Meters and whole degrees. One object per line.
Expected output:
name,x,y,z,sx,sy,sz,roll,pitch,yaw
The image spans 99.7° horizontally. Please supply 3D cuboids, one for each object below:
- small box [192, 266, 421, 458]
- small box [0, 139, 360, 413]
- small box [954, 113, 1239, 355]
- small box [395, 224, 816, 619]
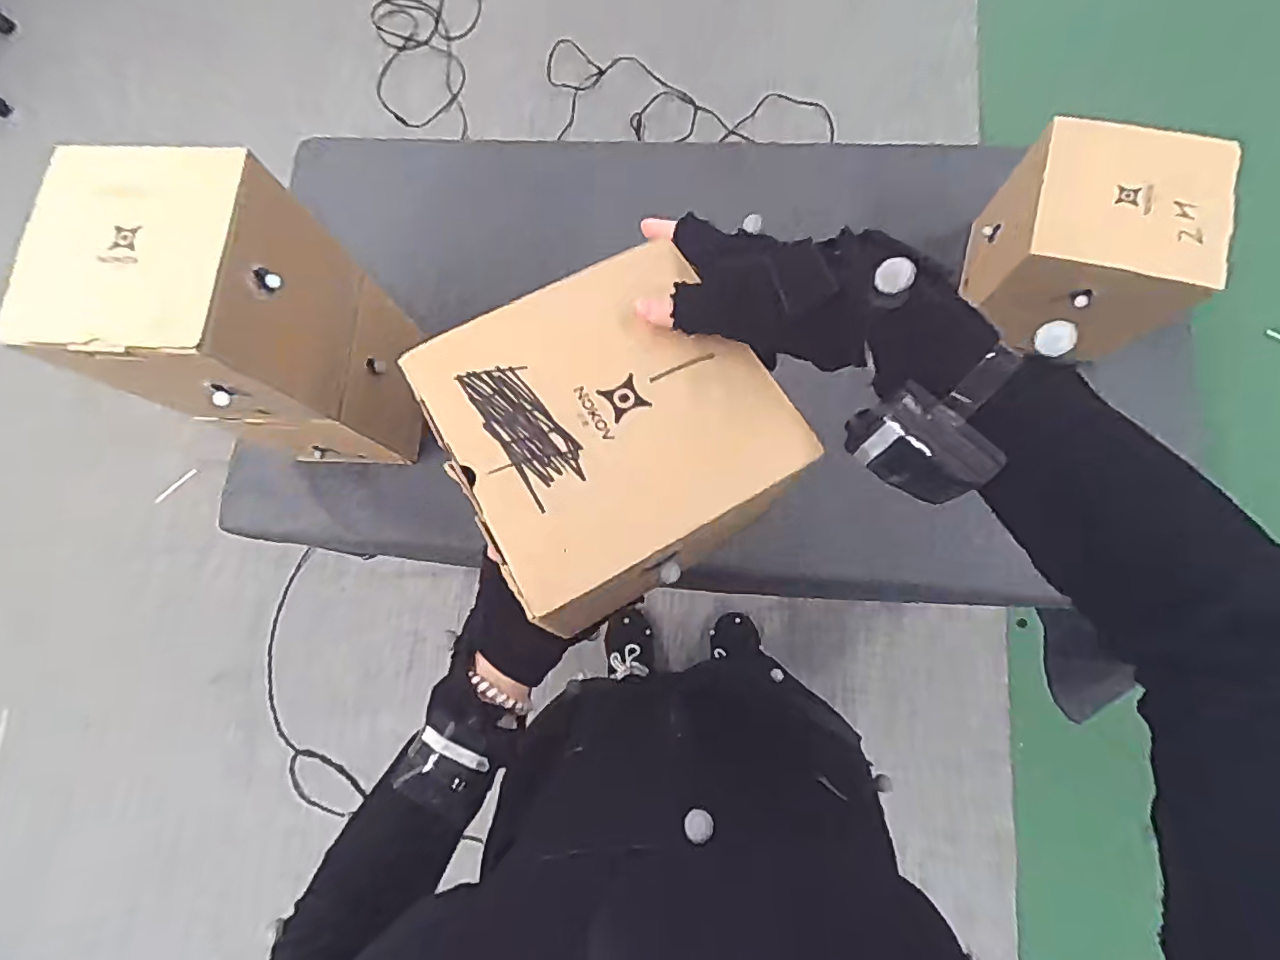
small box,-0.374,-0.134,0.650,0.168,0.176,0.179,2,78,5
small box,-0.386,-0.169,0.491,0.168,0.176,0.179,4,78,4
small box,0.488,-0.261,0.606,0.179,0.176,0.168,16,81,8
small box,-0.022,-0.022,0.363,0.179,0.176,0.168,-30,75,-11
